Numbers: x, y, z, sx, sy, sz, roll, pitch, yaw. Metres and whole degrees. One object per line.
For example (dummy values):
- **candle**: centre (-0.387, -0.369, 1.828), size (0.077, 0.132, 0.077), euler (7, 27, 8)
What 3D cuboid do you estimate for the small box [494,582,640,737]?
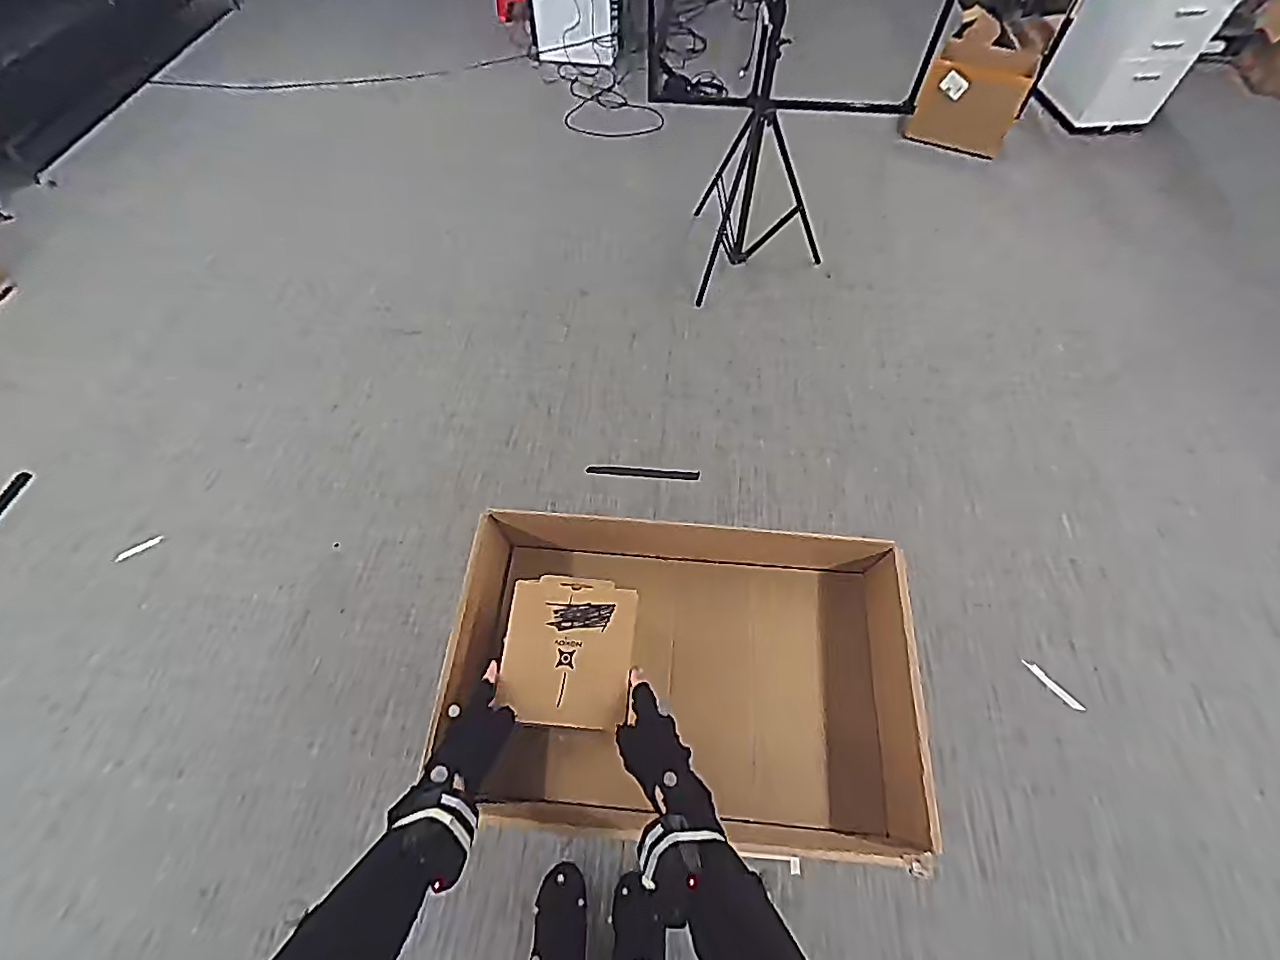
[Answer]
- **small box**: centre (-0.088, 0.255, 0.758), size (0.168, 0.176, 0.179), euler (4, 64, 3)
